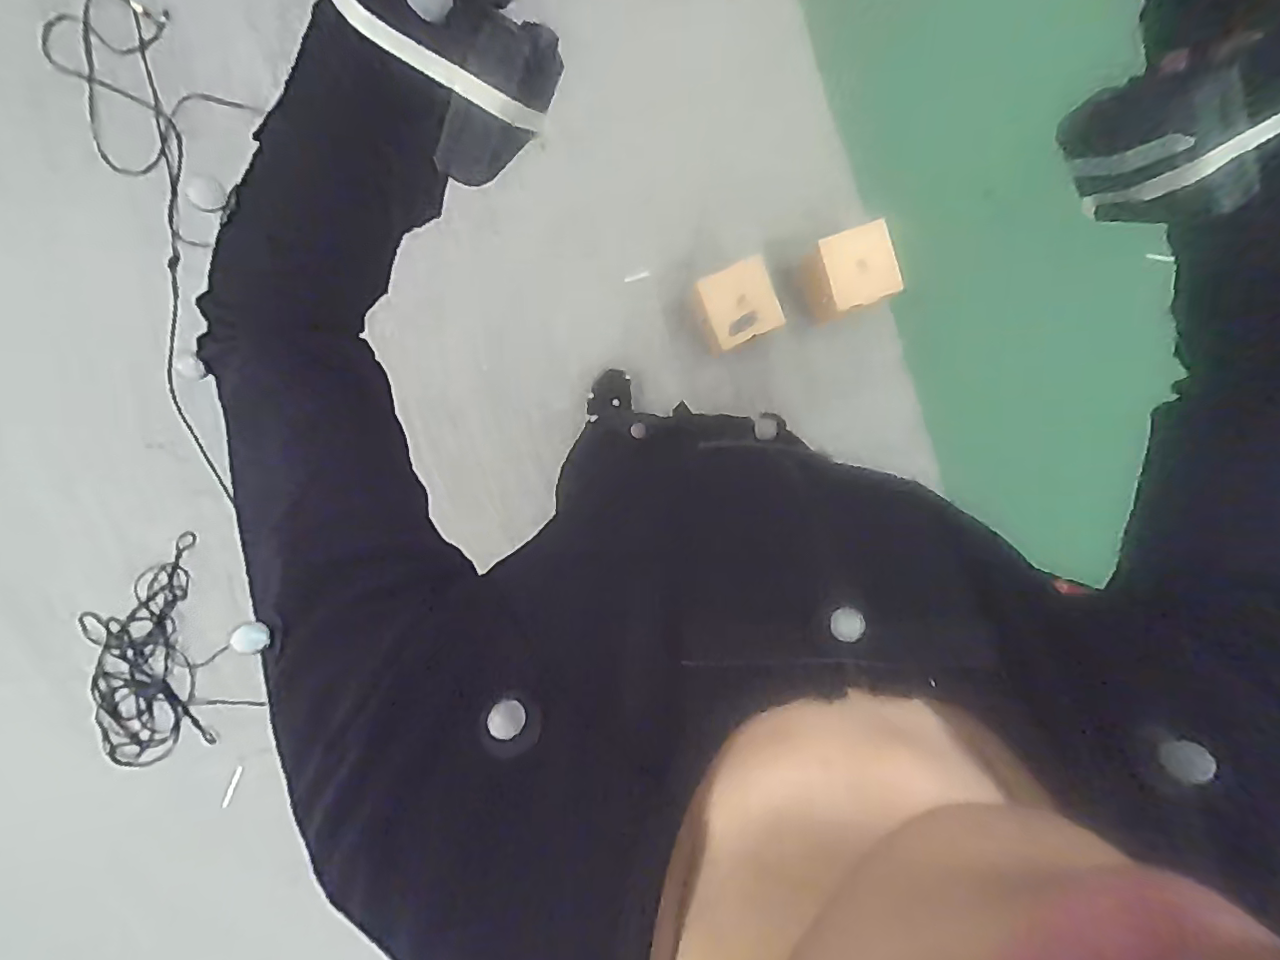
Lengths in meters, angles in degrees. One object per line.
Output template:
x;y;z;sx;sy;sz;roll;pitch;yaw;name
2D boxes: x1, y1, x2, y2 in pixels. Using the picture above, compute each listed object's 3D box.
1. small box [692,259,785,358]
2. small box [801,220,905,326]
0.240;-0.417;1.353;0.168;0.176;0.179;-23;93;2;small box
0.519;-0.505;1.345;0.168;0.176;0.179;-19;95;3;small box
